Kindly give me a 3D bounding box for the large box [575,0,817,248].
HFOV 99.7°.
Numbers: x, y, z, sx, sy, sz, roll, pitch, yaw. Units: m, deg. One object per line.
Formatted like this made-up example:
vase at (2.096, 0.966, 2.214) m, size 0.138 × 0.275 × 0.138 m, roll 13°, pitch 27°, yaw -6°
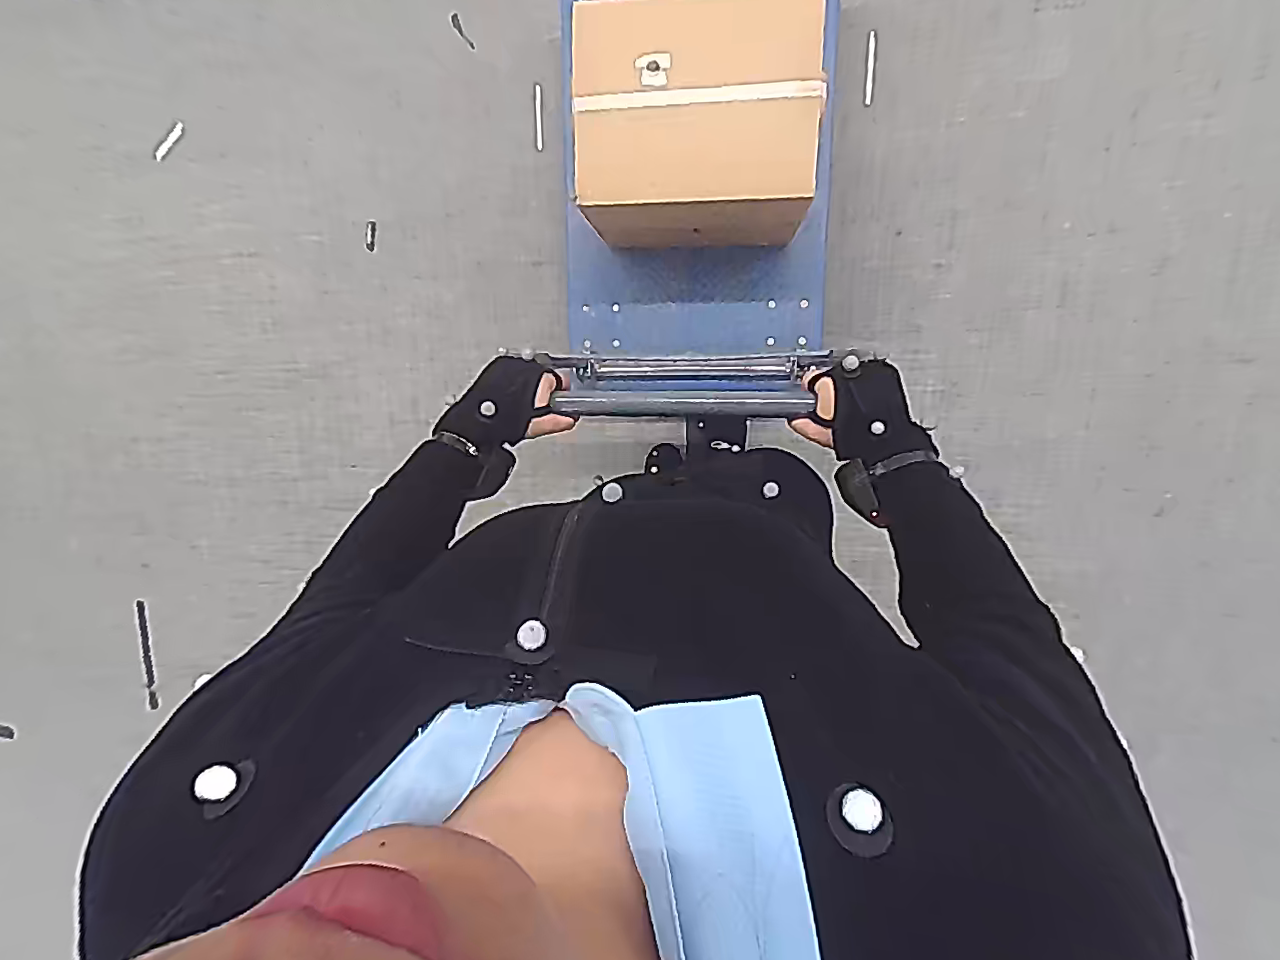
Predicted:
large box at (0.111, -0.653, 1.051) m, size 0.408 × 0.320 × 0.320 m, roll 2°, pitch 99°, yaw 9°
